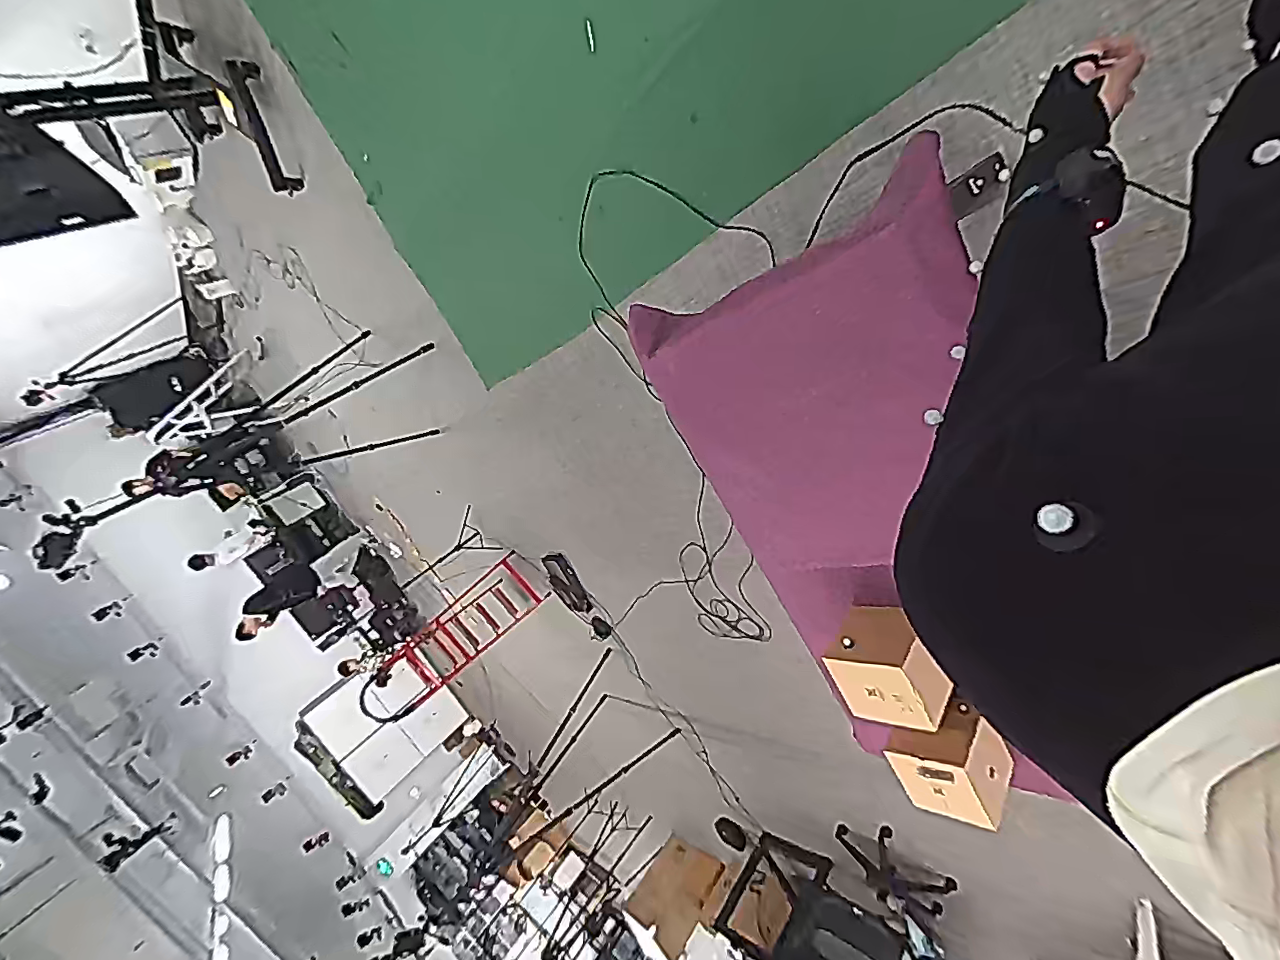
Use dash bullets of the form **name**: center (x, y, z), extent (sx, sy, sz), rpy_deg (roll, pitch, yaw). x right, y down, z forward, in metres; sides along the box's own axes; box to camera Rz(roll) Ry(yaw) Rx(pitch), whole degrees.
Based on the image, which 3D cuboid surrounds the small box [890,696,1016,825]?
- **small box**: center (0.672, 0.582, 1.158), extent (0.168, 0.176, 0.179), rpy_deg (-15, 111, 52)

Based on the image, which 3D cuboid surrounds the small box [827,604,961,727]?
- **small box**: center (0.529, 0.374, 1.122), extent (0.179, 0.176, 0.168), rpy_deg (-15, 111, 51)
